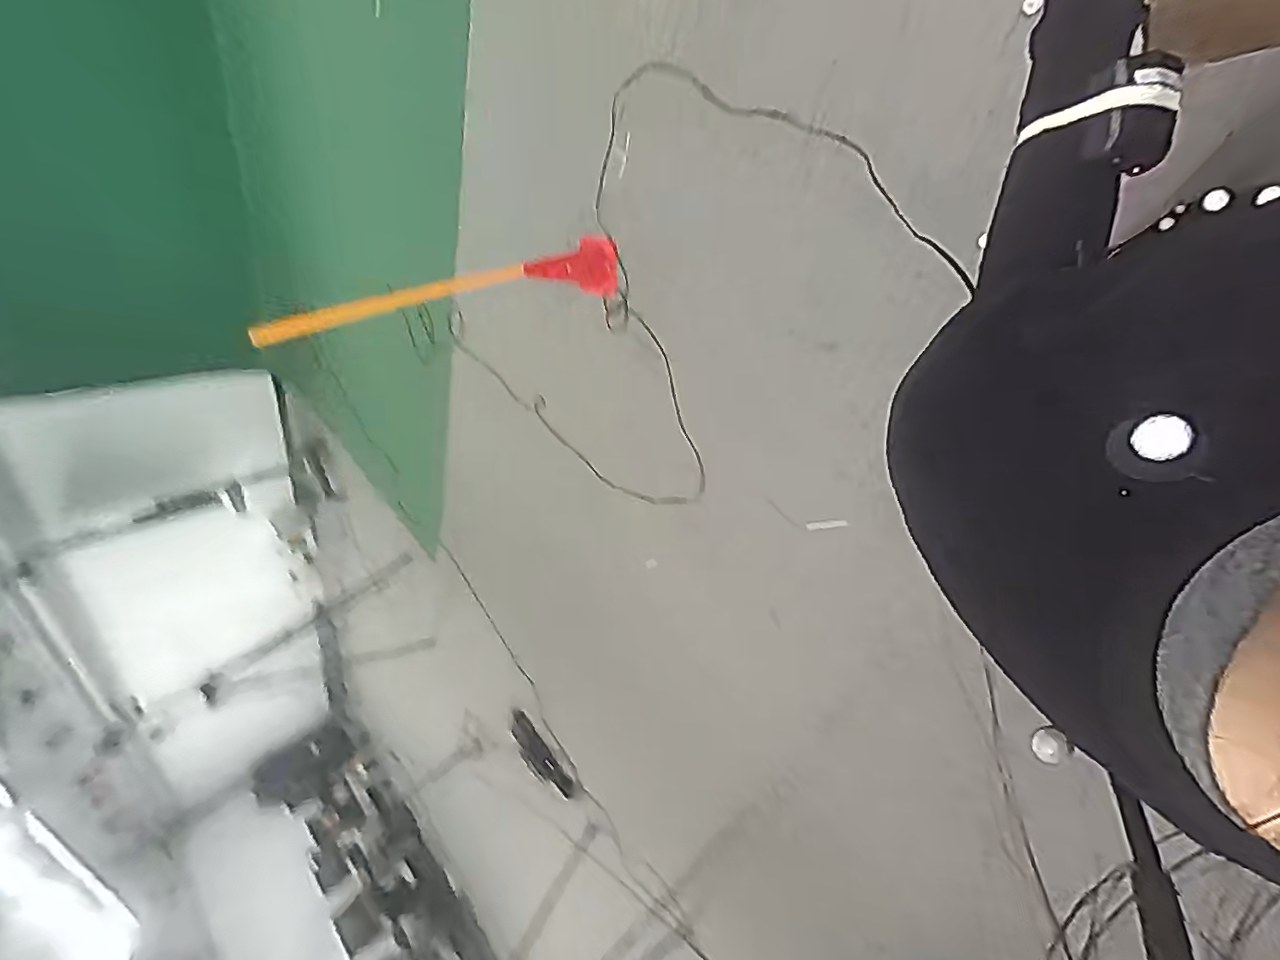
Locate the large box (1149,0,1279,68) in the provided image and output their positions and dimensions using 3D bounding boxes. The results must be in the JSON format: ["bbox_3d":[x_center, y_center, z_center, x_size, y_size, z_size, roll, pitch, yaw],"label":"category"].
[{"bbox_3d":[0.557,-0.475,0.269,0.408,0.320,0.320,11,117,41],"label":"large box"}]
